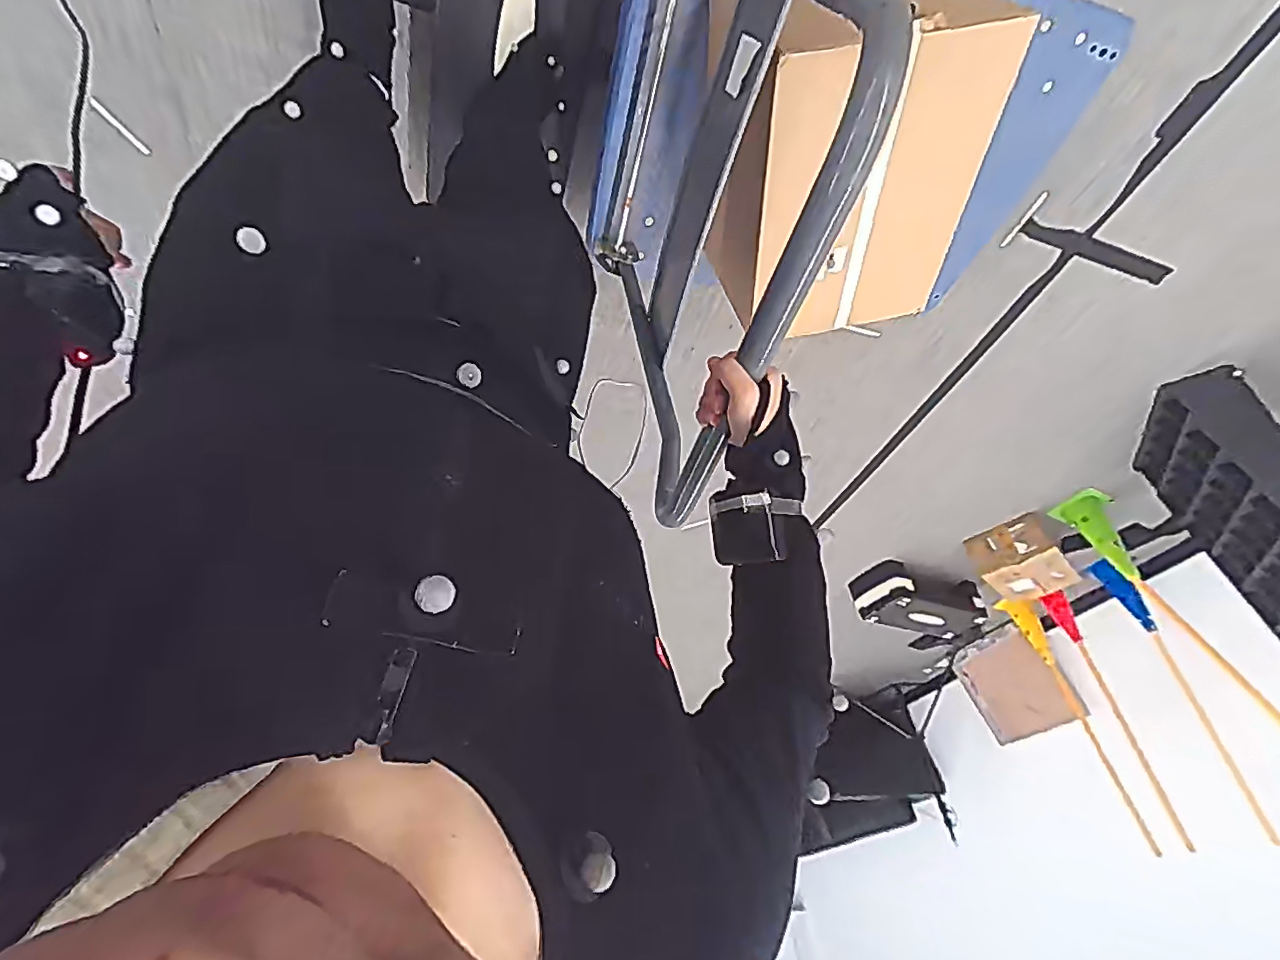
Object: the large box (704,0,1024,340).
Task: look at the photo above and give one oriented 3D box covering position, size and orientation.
[{"bbox_3d":[0.290,-0.503,0.863,0.320,0.320,0.408,-11,143,-3],"label":"large box"}]
